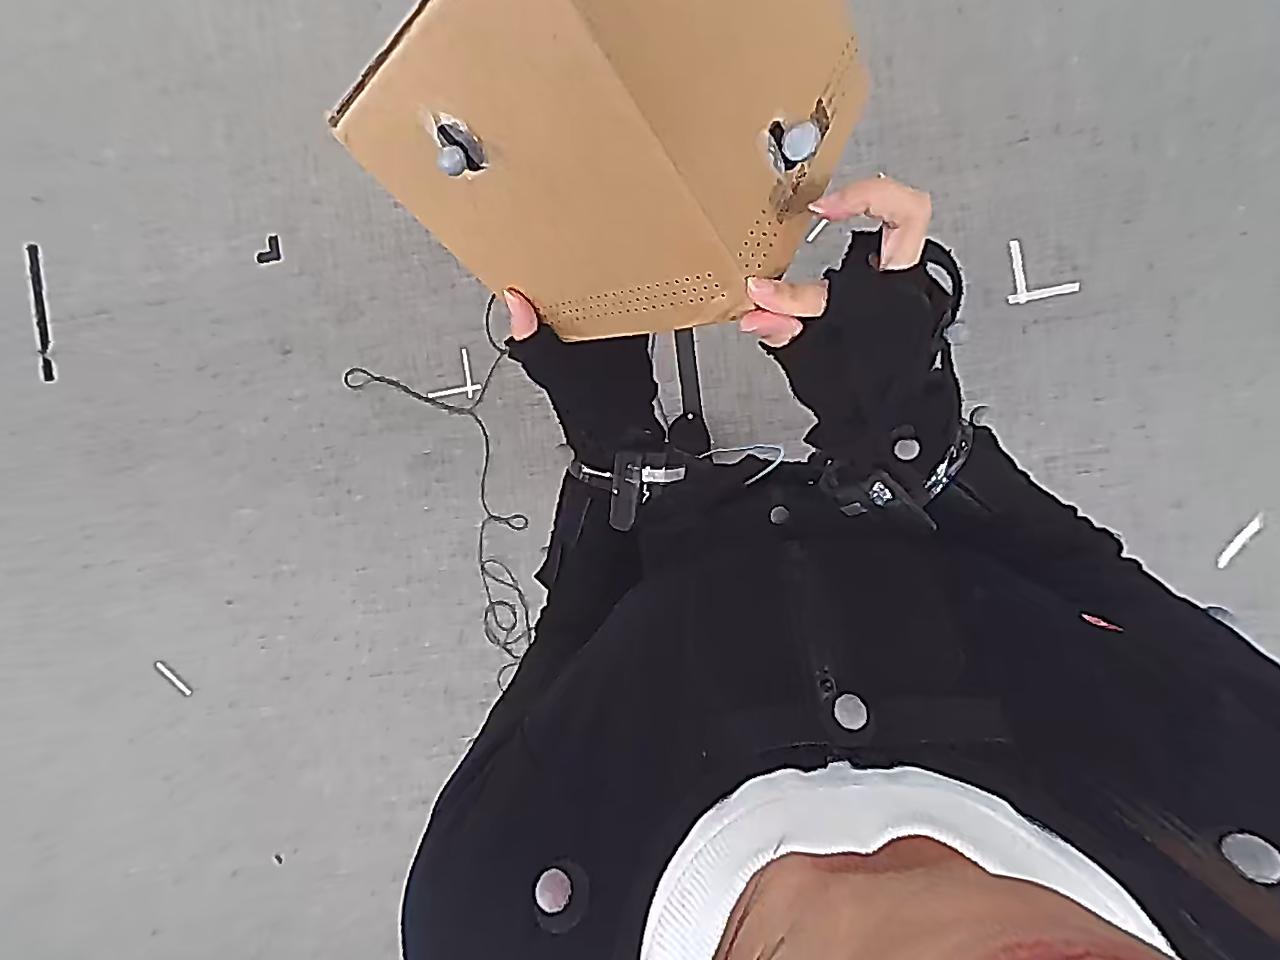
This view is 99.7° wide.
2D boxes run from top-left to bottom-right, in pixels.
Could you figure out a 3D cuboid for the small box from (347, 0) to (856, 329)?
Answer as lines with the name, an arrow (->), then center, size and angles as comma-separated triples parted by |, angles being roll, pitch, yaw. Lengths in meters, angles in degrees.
small box -> -0.014, -0.201, 0.296 | 0.176, 0.179, 0.168 | 40, 70, -40
